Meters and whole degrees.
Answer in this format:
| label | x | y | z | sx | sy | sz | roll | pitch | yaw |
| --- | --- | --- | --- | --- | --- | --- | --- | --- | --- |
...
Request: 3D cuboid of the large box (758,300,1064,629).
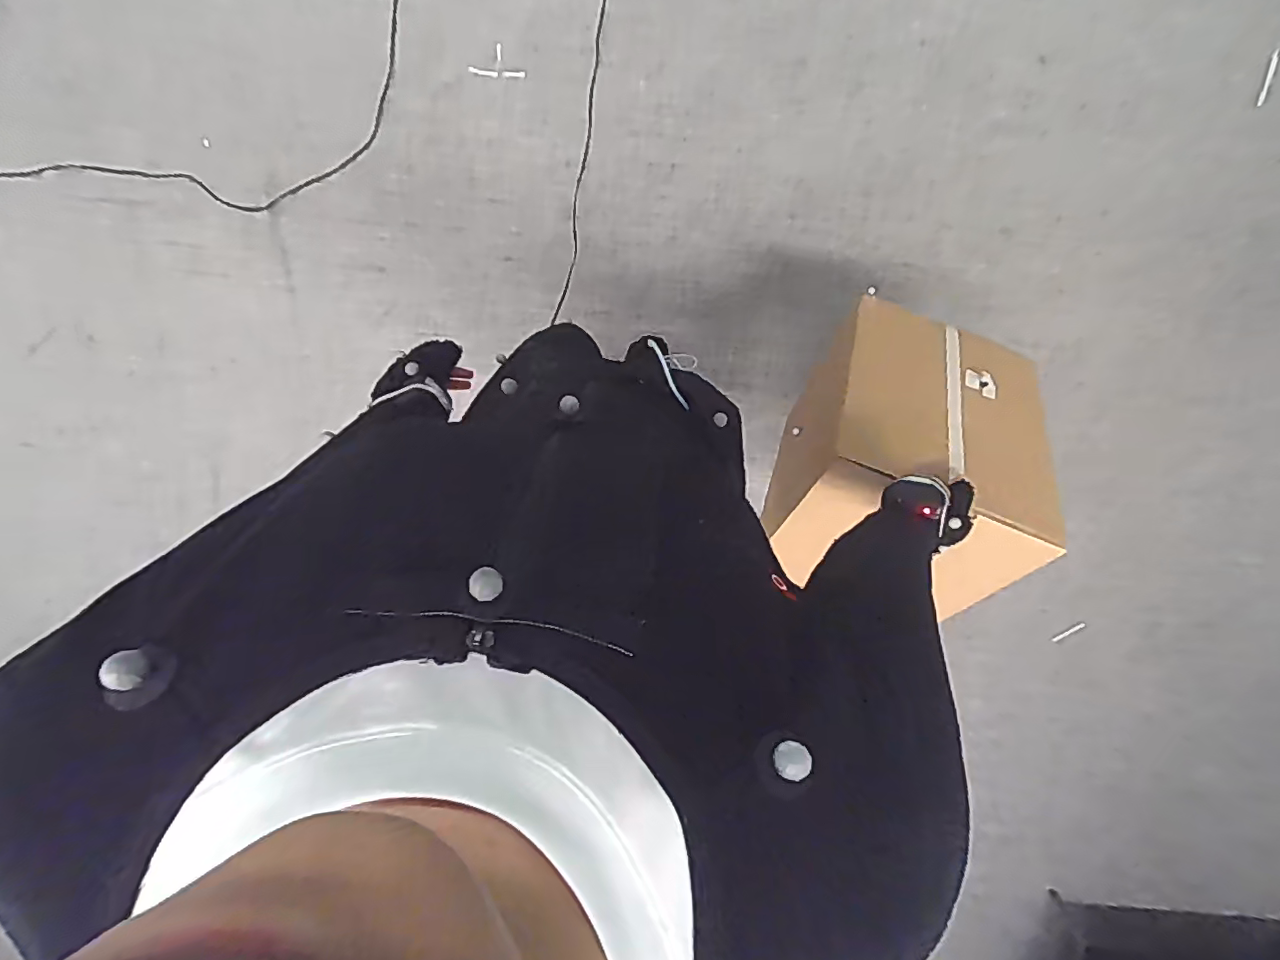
| label | x | y | z | sx | sy | sz | roll | pitch | yaw |
| --- | --- | --- | --- | --- | --- | --- | --- | --- | --- |
| large box | 0.427 | -0.025 | 0.923 | 0.320 | 0.408 | 0.320 | 23 | 143 | 2 |
